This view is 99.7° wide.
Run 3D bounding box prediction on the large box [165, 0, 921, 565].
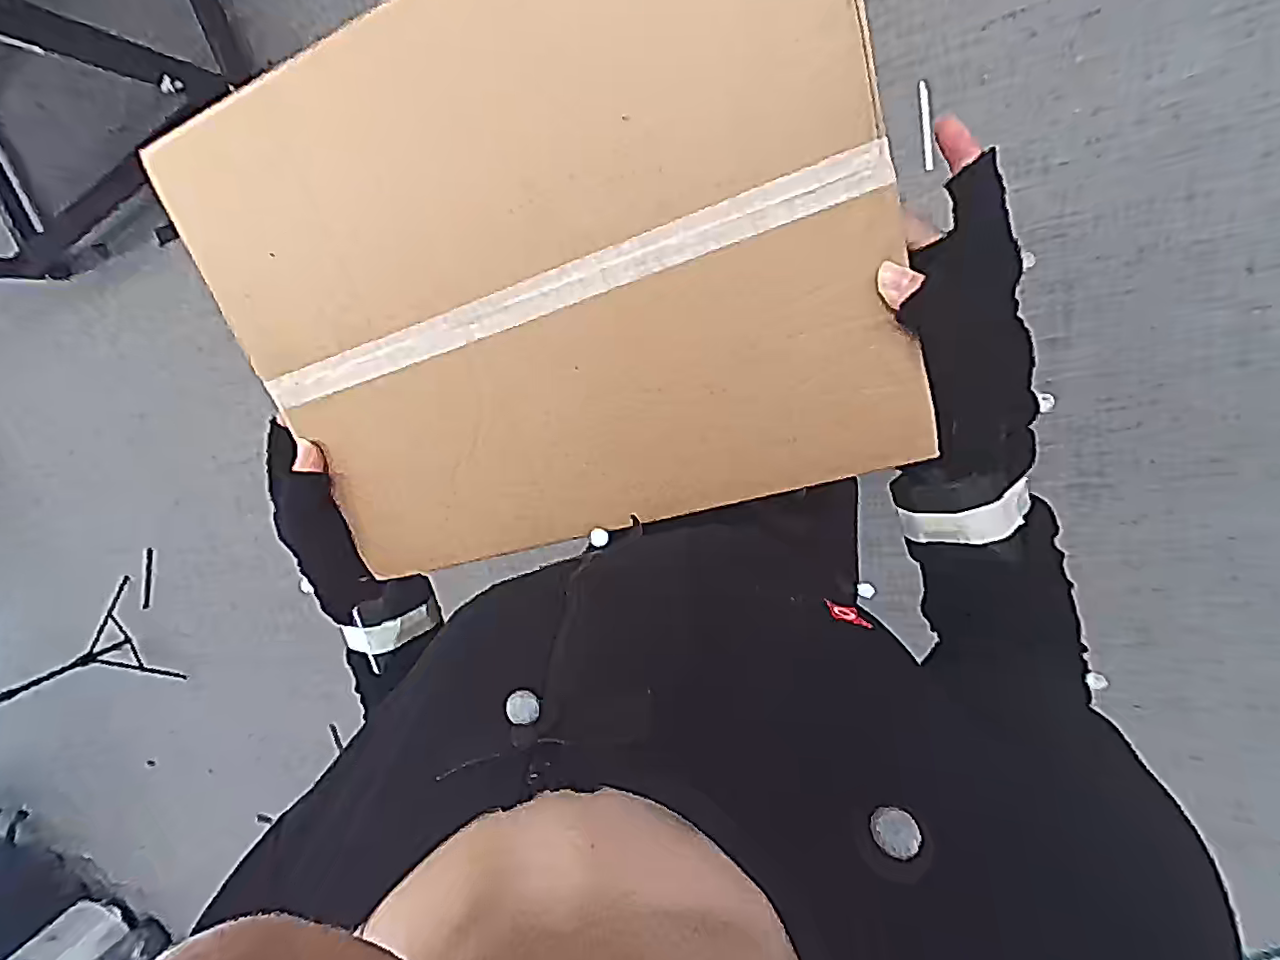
[{"bbox_3d":[-0.038,-0.172,0.459,0.408,0.320,0.320,-14,108,17],"label":"large box"}]
